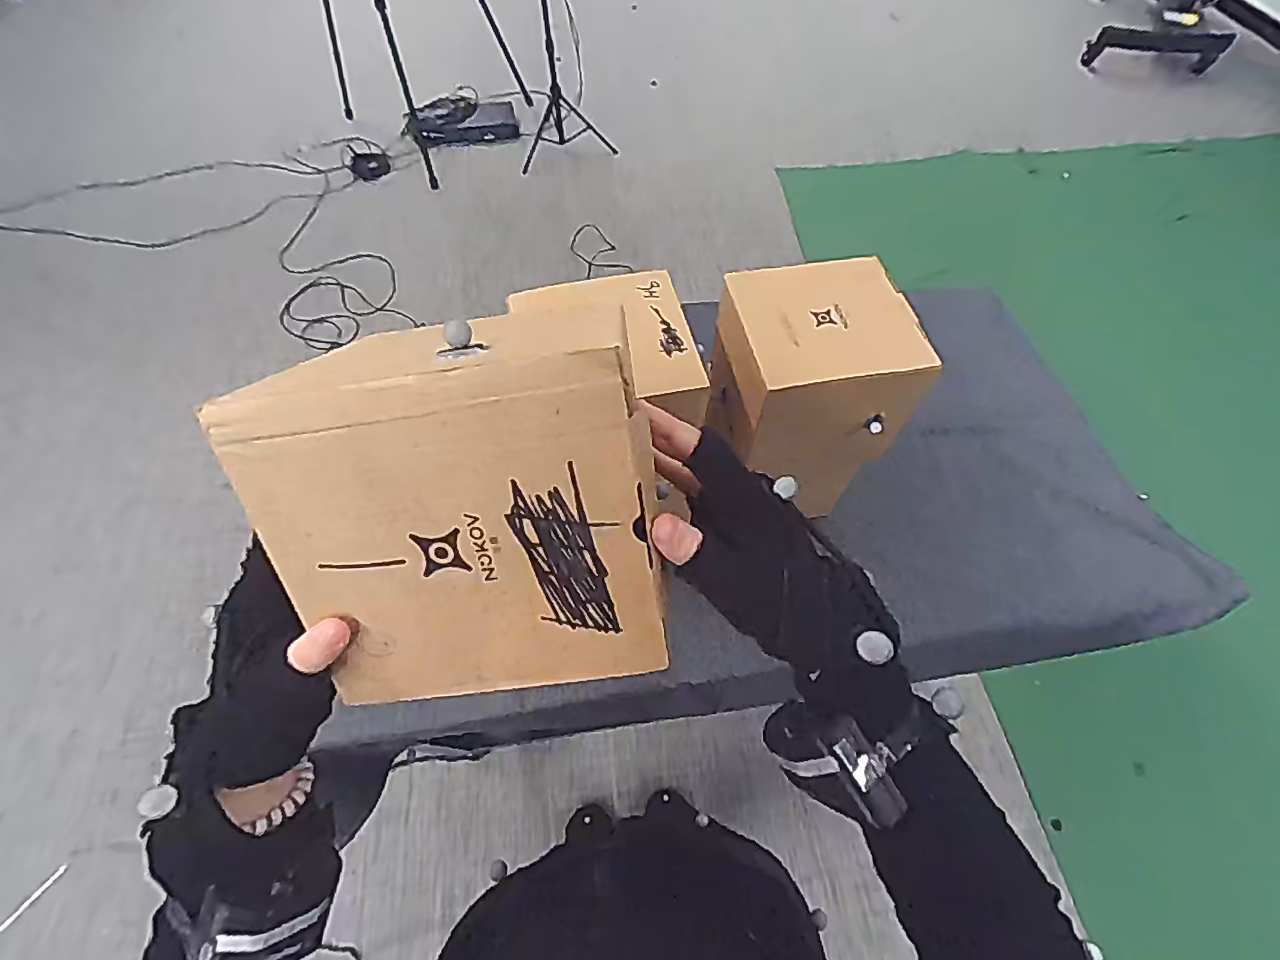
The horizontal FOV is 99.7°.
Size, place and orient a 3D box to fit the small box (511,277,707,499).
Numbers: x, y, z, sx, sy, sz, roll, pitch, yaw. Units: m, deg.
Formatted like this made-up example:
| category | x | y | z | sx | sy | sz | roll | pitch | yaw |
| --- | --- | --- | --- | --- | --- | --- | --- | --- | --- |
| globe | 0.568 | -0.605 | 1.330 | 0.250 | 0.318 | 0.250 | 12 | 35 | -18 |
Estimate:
| category | x | y | z | sx | sy | sz | roll | pitch | yaw |
| --- | --- | --- | --- | --- | --- | --- | --- | --- | --- |
| small box | -0.034 | -0.095 | 0.610 | 0.179 | 0.176 | 0.168 | -12 | 61 | -6 |
